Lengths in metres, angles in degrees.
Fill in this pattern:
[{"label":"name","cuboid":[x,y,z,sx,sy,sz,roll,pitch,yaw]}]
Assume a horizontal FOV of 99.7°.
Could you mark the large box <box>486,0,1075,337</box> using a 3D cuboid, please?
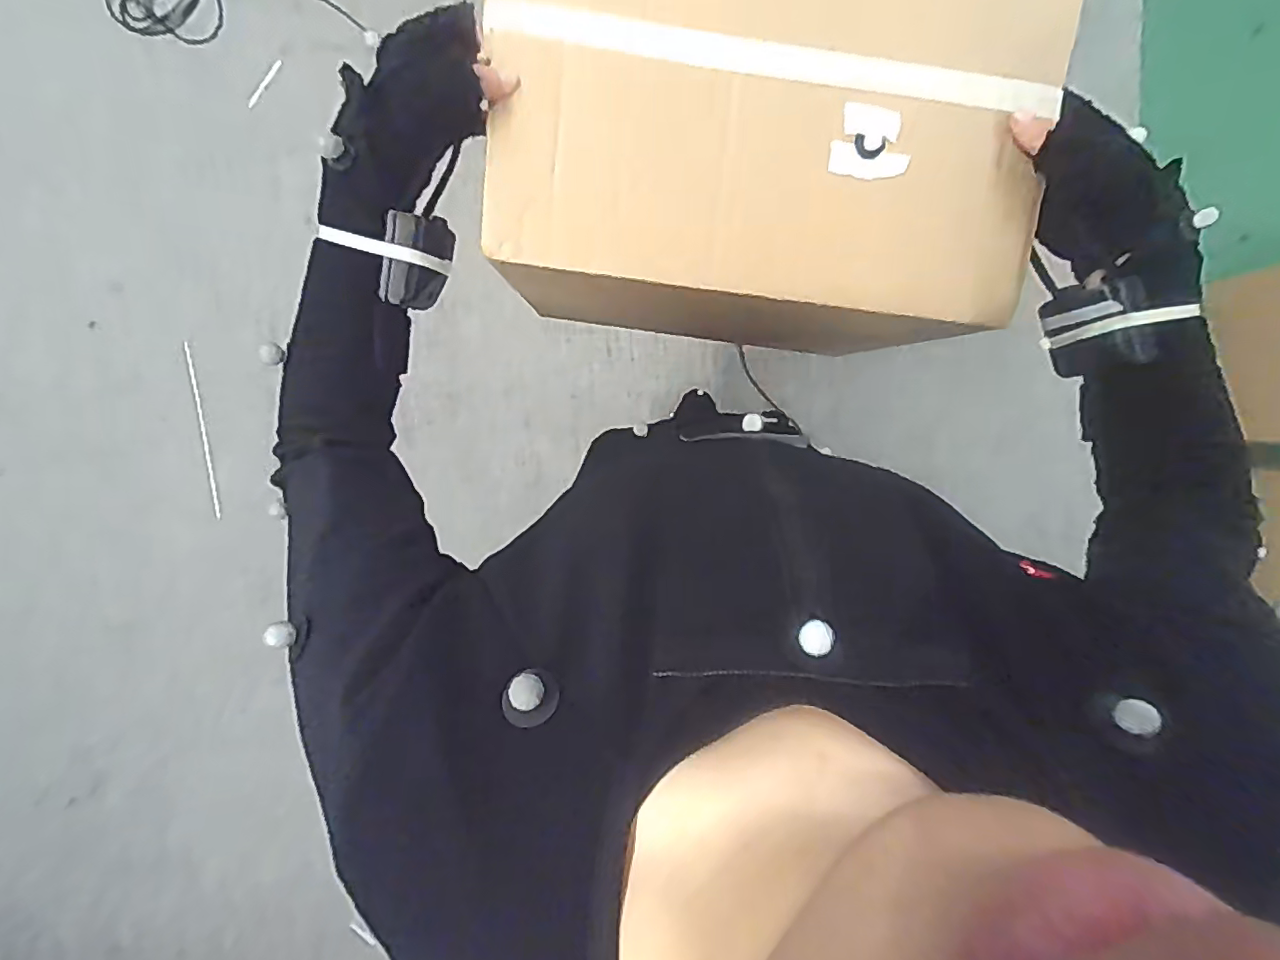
[{"label":"large box","cuboid":[0.089,-0.326,0.519,0.408,0.320,0.320,6,101,-5]}]
